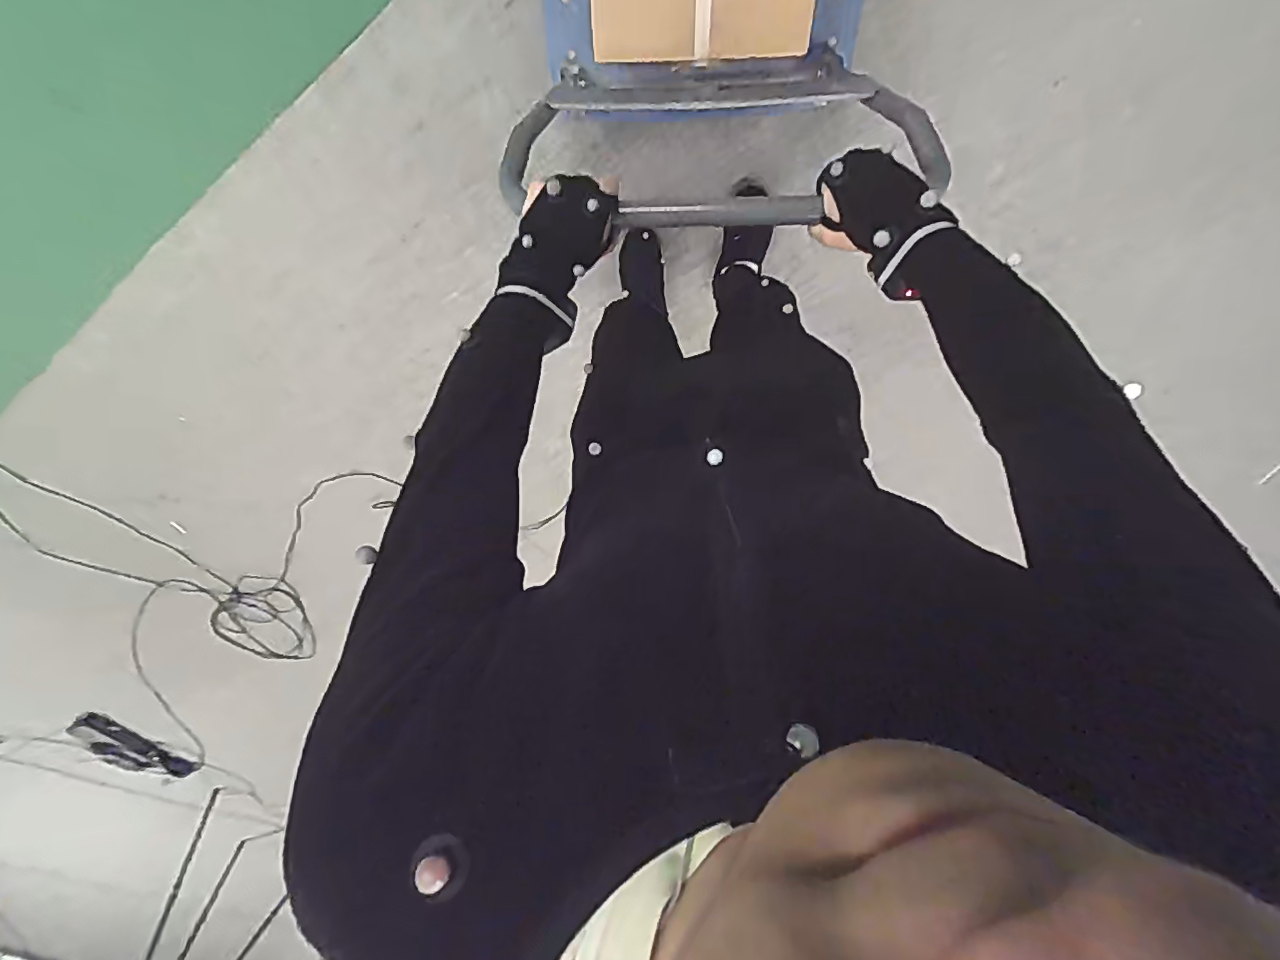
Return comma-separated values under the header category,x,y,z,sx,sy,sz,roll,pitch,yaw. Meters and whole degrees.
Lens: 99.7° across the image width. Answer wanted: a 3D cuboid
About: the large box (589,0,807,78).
category,x,y,z,sx,sy,sz,roll,pitch,yaw
large box,0.086,-0.865,0.810,0.320,0.320,0.408,1,129,3
